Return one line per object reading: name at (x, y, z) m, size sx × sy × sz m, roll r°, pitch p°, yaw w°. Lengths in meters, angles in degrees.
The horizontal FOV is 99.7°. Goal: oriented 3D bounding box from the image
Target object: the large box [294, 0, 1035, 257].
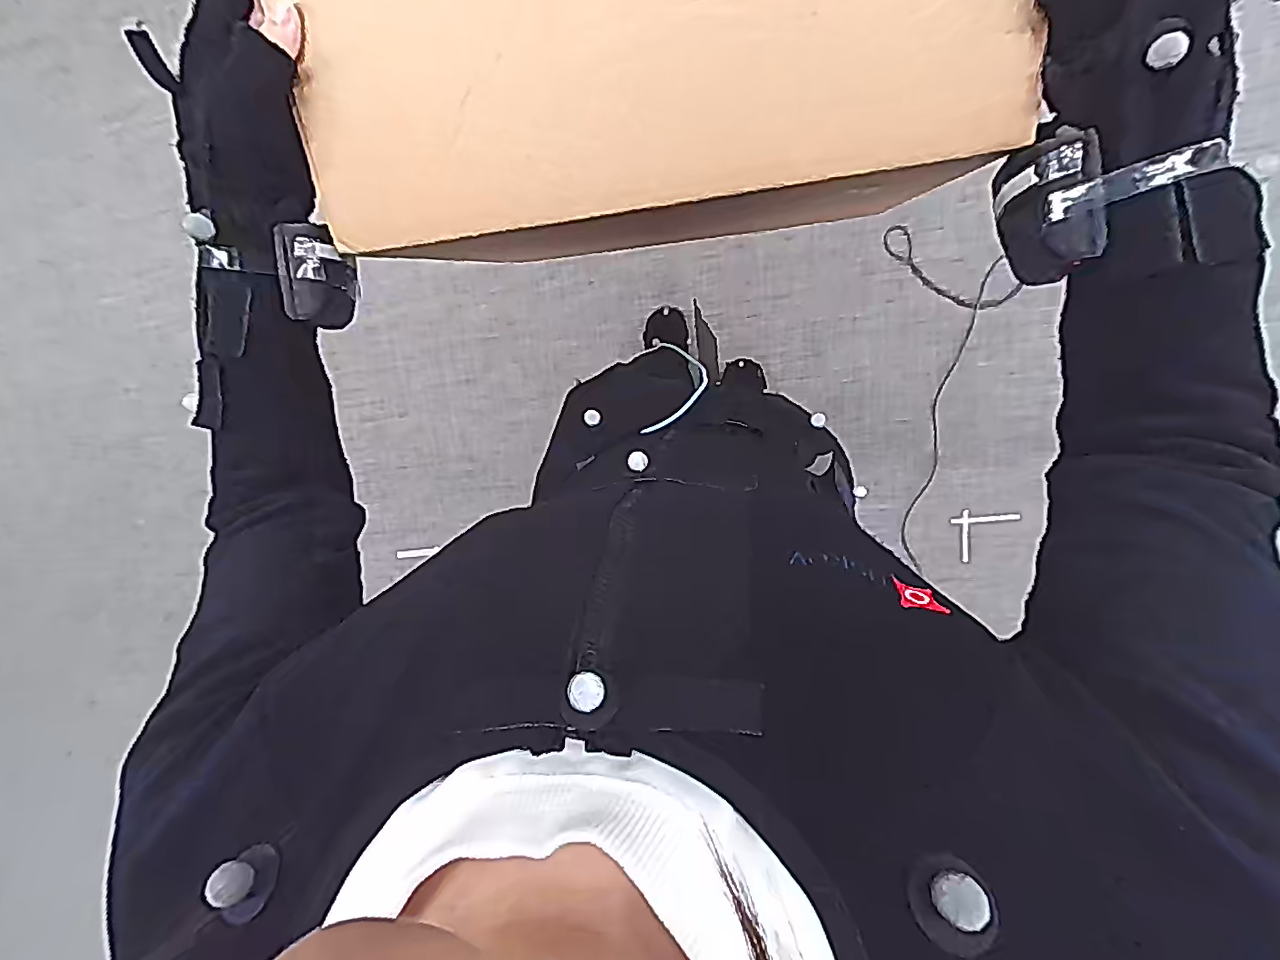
large box at (0.011, -0.367, 0.411) m, size 0.408 × 0.320 × 0.320 m, roll -4°, pitch 111°, yaw 11°
